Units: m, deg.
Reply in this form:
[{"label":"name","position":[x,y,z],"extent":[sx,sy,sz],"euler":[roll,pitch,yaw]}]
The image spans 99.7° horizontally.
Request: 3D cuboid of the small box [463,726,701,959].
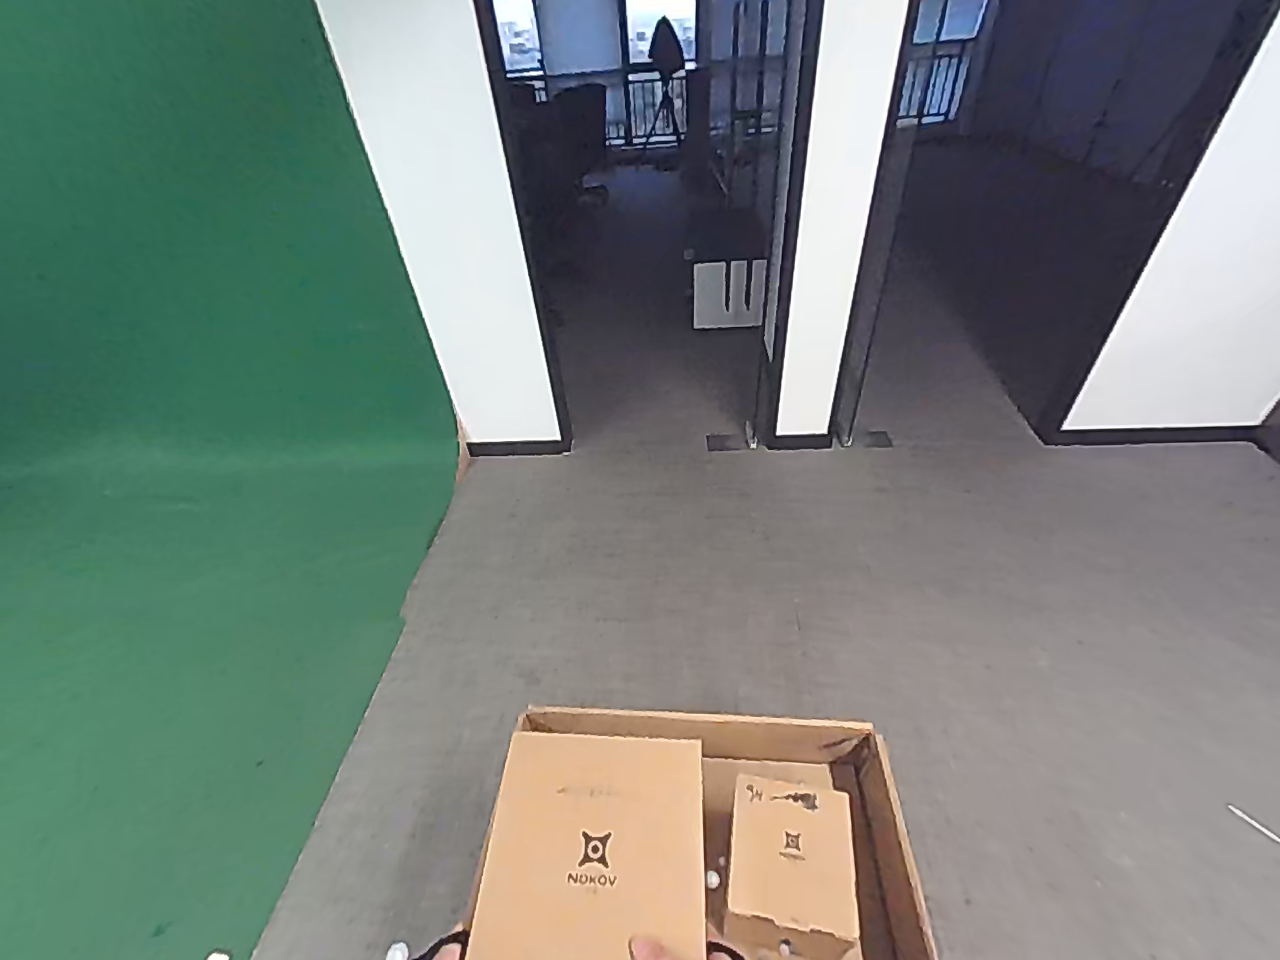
[{"label":"small box","position":[-0.032,0.336,0.467],"extent":[0.168,0.176,0.179],"euler":[2,46,4]}]
